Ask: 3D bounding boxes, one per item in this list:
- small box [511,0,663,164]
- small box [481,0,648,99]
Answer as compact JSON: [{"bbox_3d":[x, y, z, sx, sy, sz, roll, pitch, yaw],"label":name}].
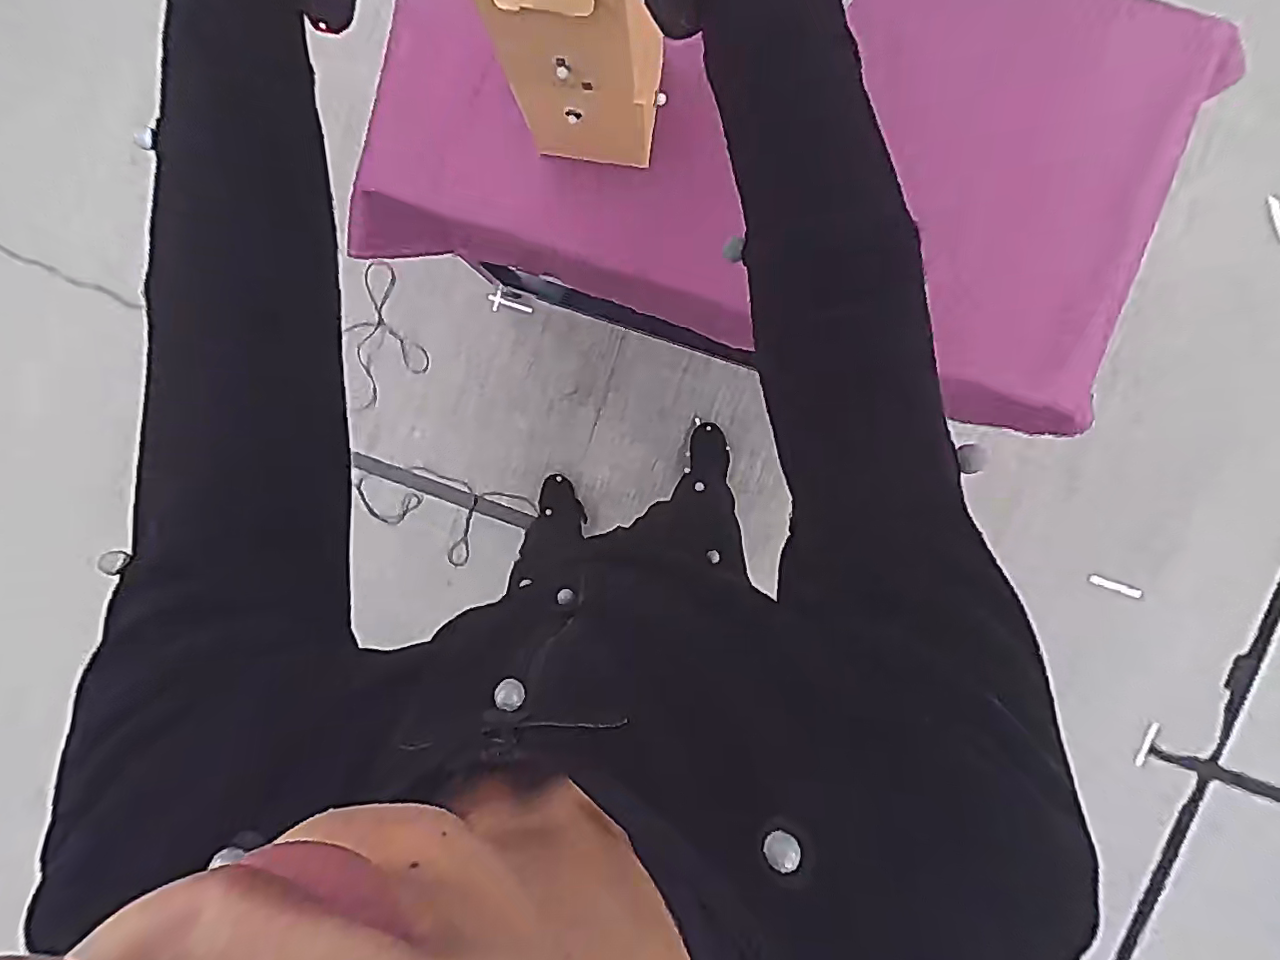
[{"bbox_3d":[-0.065,-0.577,0.764,0.179,0.176,0.168,8,95,1],"label":"small box"},{"bbox_3d":[-0.079,-0.572,0.600,0.168,0.176,0.179,7,95,3],"label":"small box"}]
